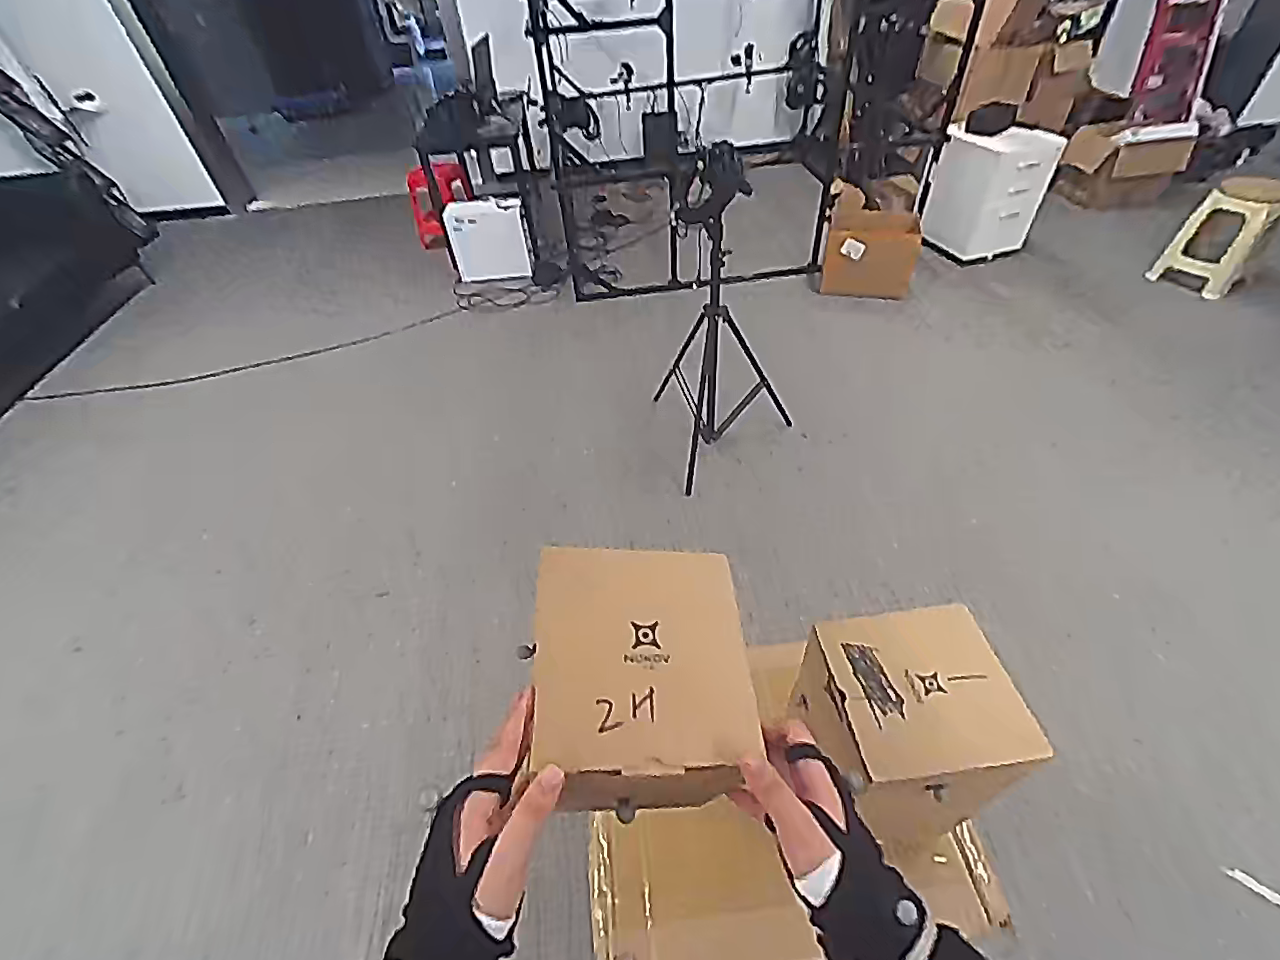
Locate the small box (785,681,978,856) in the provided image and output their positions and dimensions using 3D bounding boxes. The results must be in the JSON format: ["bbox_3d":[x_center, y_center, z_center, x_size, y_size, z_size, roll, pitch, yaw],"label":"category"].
[{"bbox_3d":[0.303,0.380,0.729,0.168,0.176,0.179,-8,47,0],"label":"small box"}]

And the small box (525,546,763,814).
[{"bbox_3d":[-0.012,0.179,0.480,0.168,0.176,0.179,3,51,-10],"label":"small box"}]

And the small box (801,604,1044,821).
[{"bbox_3d":[0.291,0.265,0.611,0.179,0.176,0.168,-8,46,-1],"label":"small box"}]
